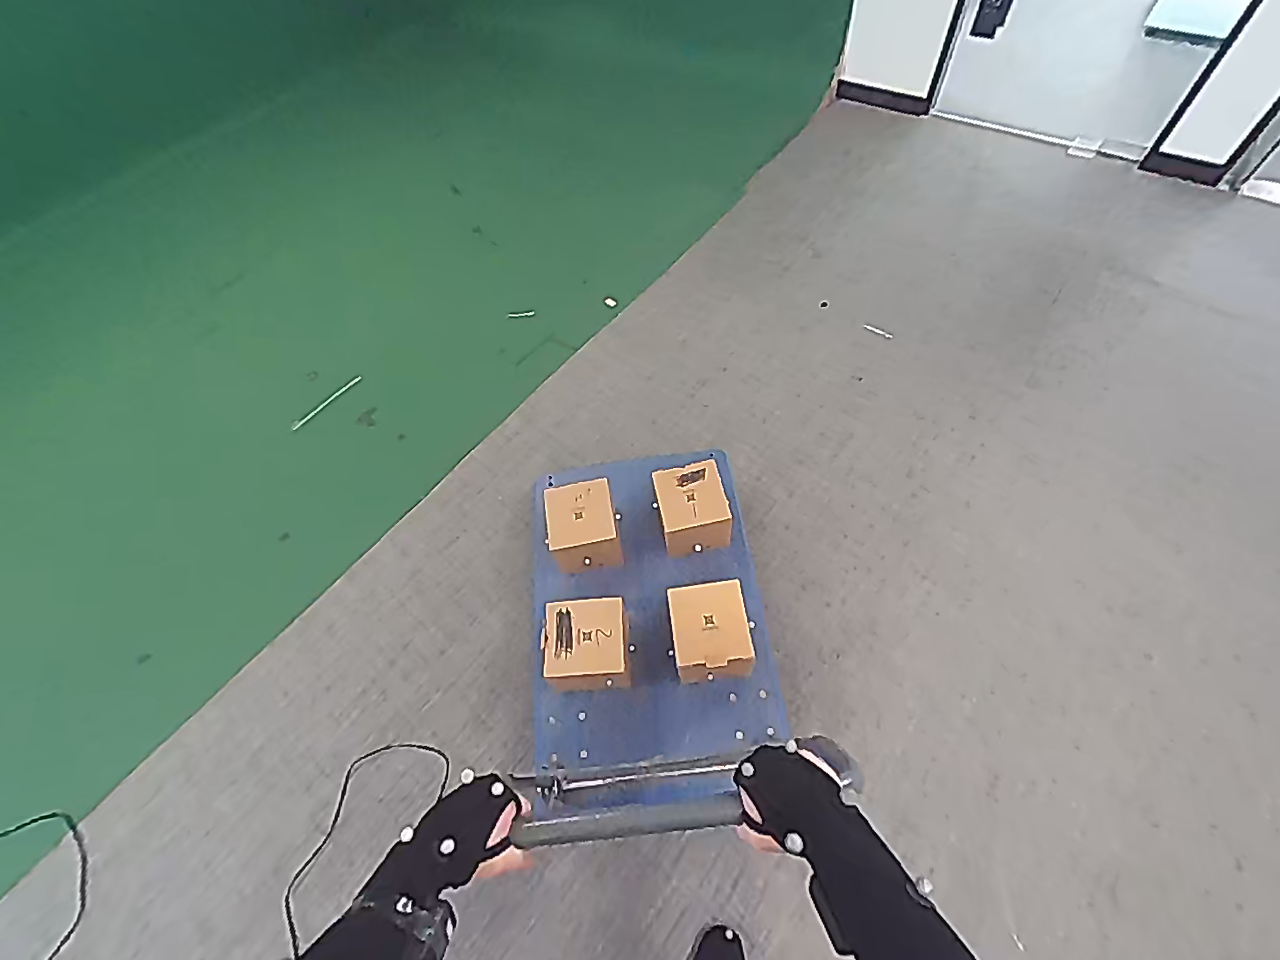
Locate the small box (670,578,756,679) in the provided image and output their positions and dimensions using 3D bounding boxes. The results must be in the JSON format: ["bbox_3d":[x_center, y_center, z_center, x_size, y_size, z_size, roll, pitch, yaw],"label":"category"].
[{"bbox_3d":[0.160,0.344,1.241,0.168,0.176,0.179,-8,60,1],"label":"small box"}]

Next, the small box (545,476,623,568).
[{"bbox_3d":[-0.142,0.116,1.402,0.168,0.176,0.179,-10,59,-1],"label":"small box"}]

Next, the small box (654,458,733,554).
[{"bbox_3d":[0.134,0.071,1.400,0.168,0.176,0.179,-12,60,0],"label":"small box"}]
